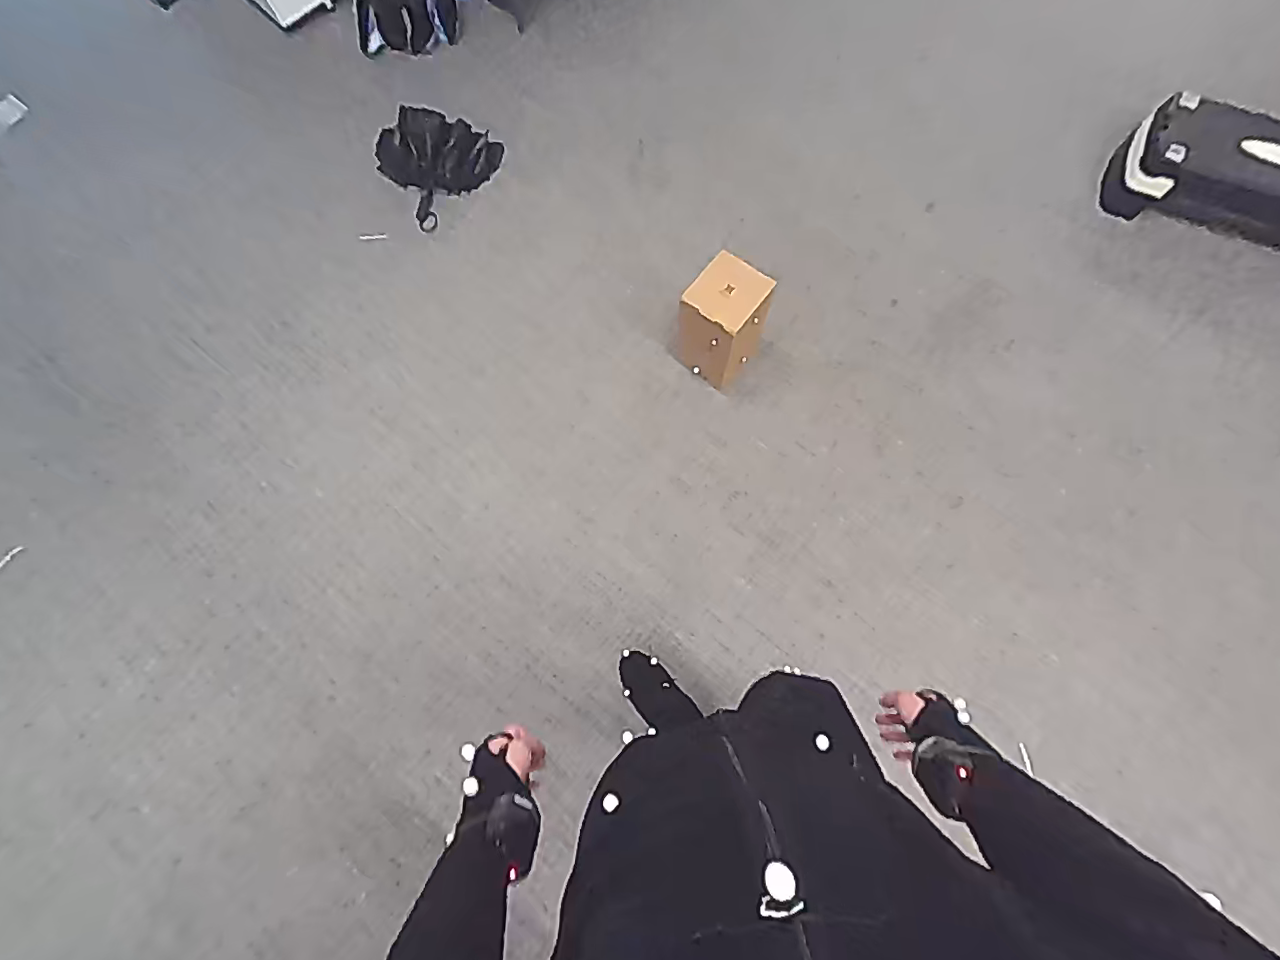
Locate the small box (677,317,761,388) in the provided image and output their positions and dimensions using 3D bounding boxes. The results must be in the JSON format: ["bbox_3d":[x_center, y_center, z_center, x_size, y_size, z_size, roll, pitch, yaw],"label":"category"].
[{"bbox_3d":[0.214,-0.395,1.528,0.168,0.176,0.179,37,80,12],"label":"small box"}]

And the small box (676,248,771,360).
[{"bbox_3d":[0.205,-0.437,1.372,0.168,0.176,0.179,36,78,11],"label":"small box"}]
